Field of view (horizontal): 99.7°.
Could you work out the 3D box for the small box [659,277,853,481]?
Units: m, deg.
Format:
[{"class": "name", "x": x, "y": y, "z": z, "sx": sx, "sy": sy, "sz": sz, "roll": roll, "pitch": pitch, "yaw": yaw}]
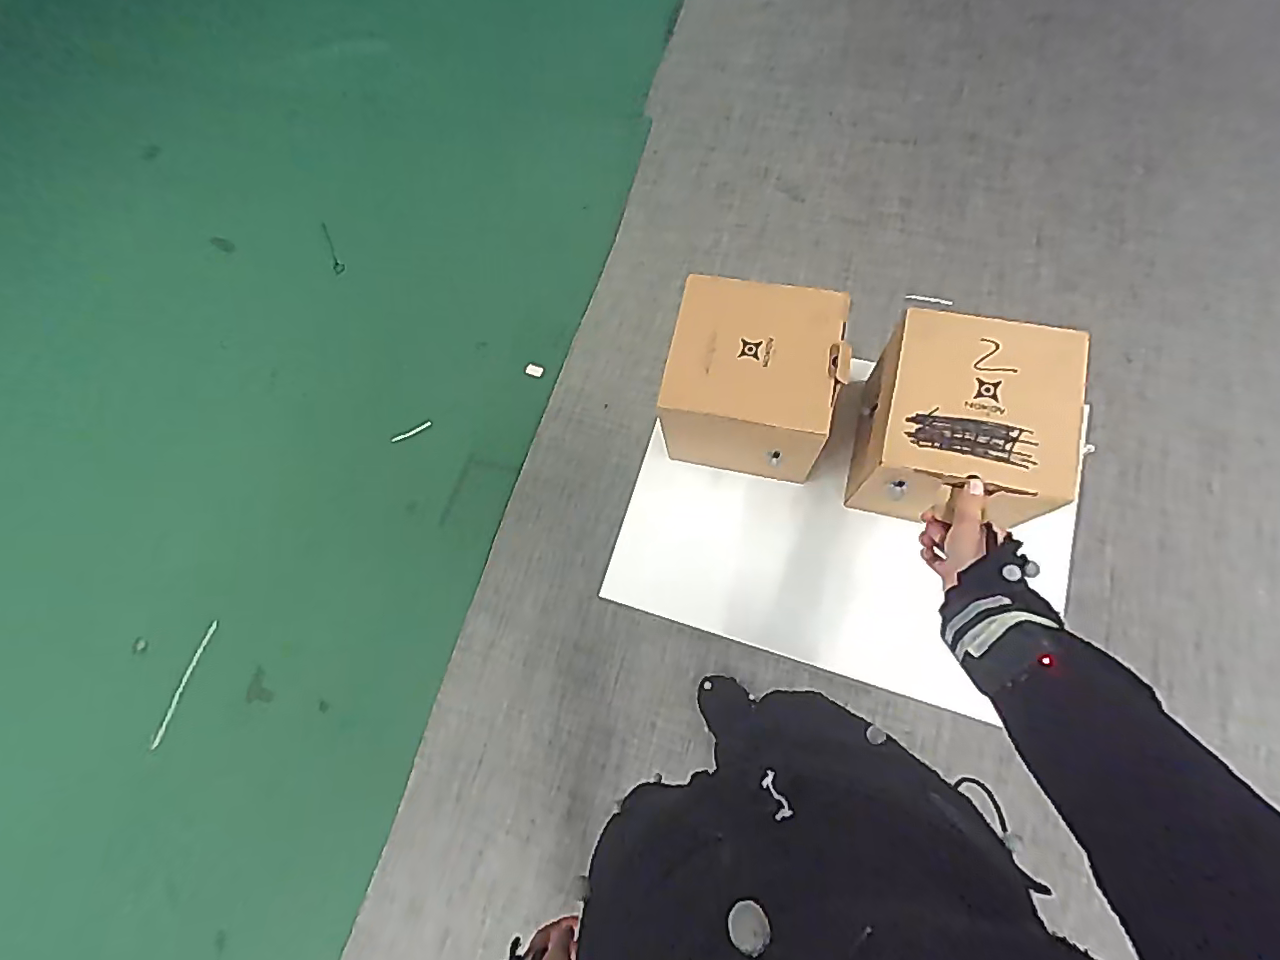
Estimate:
[{"class": "small box", "x": 0.131, "y": -0.108, "z": 0.635, "sx": 0.179, "sy": 0.176, "sz": 0.168, "roll": 11, "pitch": 74, "yaw": 11}]
